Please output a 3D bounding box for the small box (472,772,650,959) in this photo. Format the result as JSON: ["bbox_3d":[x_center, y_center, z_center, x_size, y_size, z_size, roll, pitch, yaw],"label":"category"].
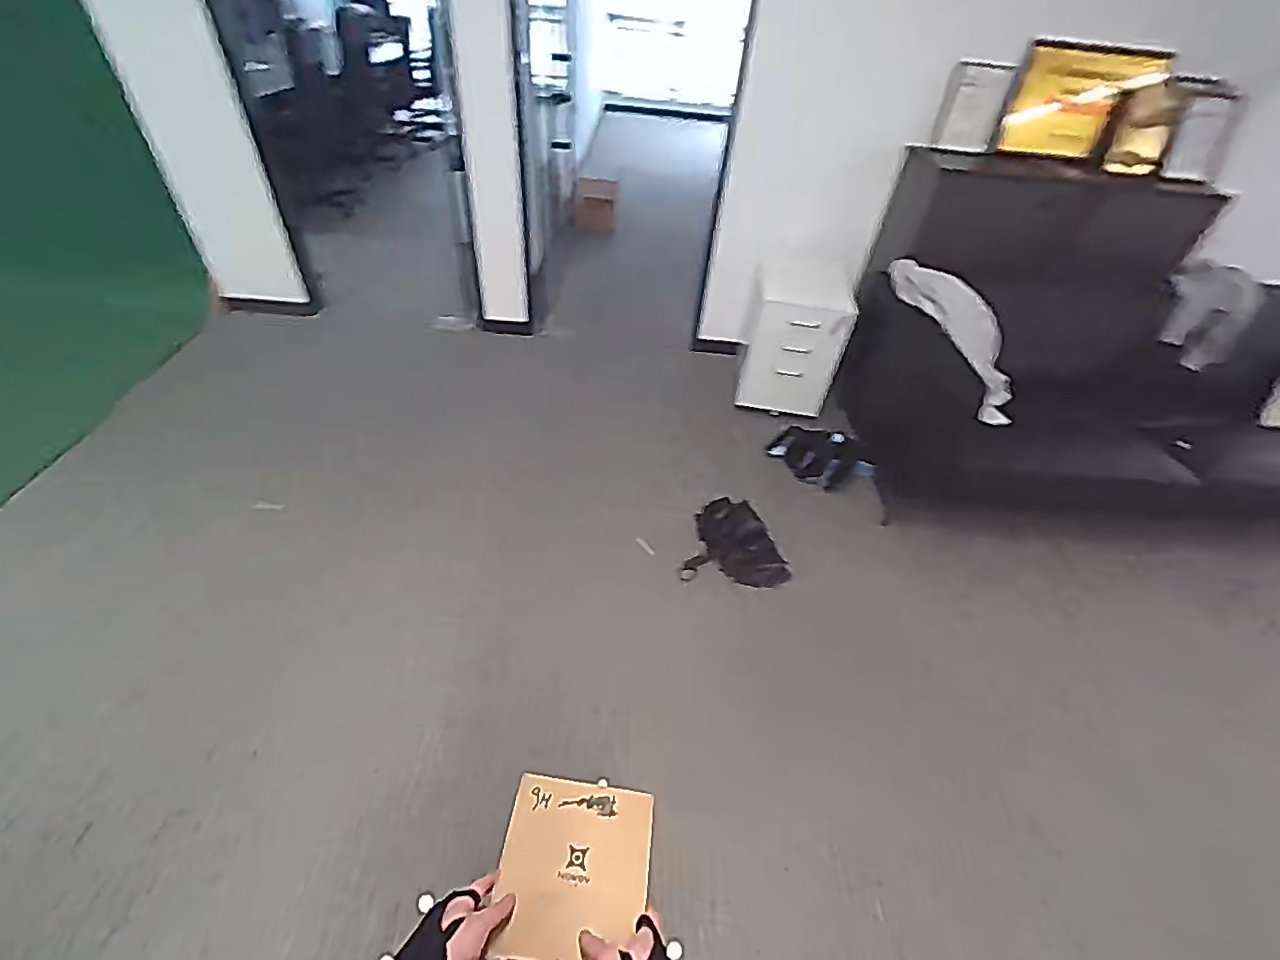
[{"bbox_3d":[-0.085,0.478,0.640,0.168,0.176,0.179,9,42,-2],"label":"small box"}]
